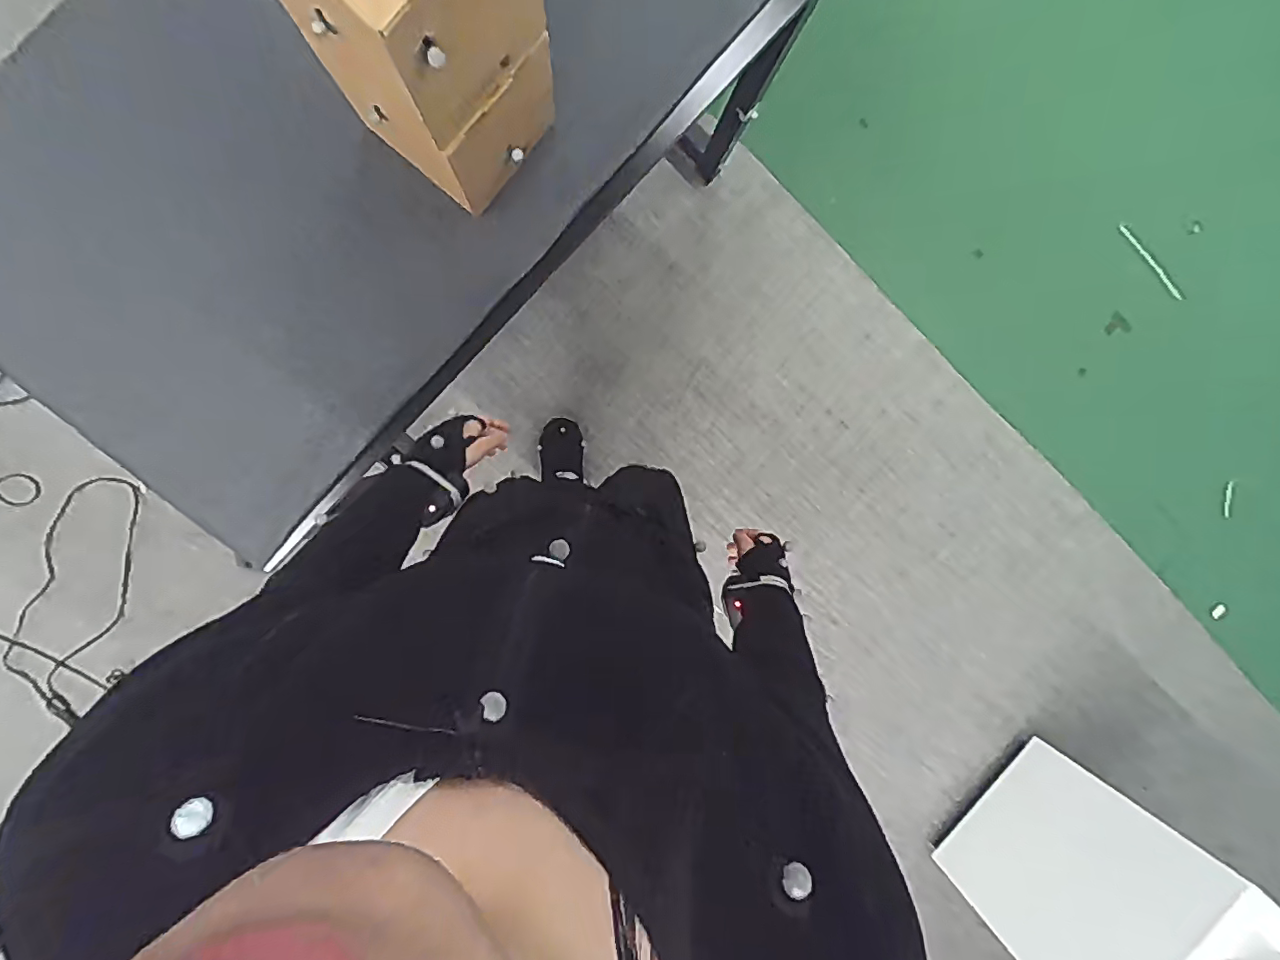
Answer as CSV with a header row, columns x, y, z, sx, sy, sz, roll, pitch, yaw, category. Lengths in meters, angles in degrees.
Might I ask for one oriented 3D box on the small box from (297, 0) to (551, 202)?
x,y,z,sx,sy,sz,roll,pitch,yaw,category
-0.217,-0.452,0.598,0.179,0.176,0.168,38,90,-9,small box
